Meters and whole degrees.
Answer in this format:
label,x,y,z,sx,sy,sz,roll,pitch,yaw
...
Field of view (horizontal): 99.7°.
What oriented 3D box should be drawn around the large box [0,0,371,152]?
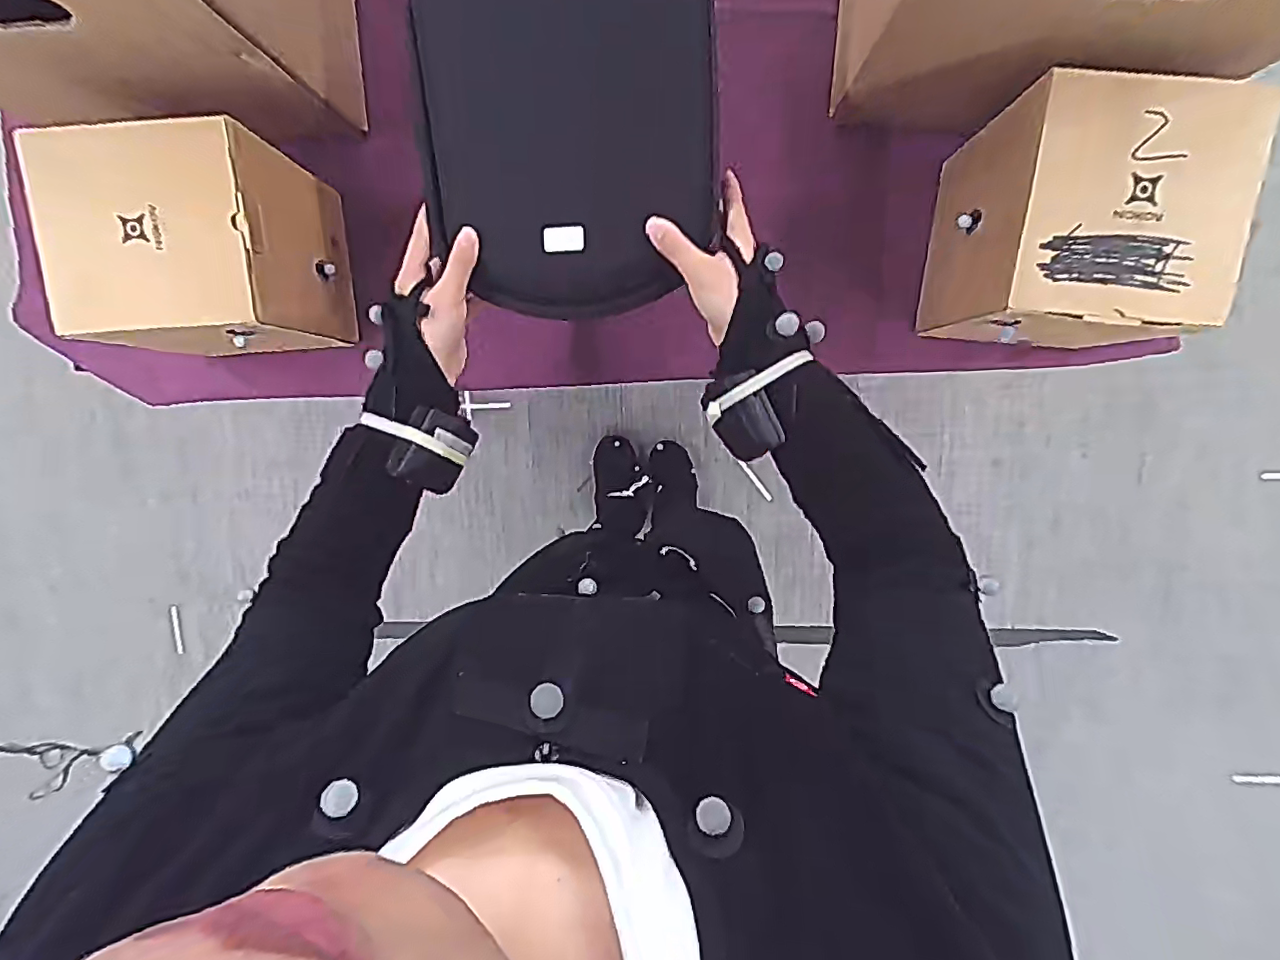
label,x,y,z,sx,sy,sz,roll,pitch,yaw
large box,-0.456,-0.537,0.420,0.320,0.320,0.408,-2,101,2
